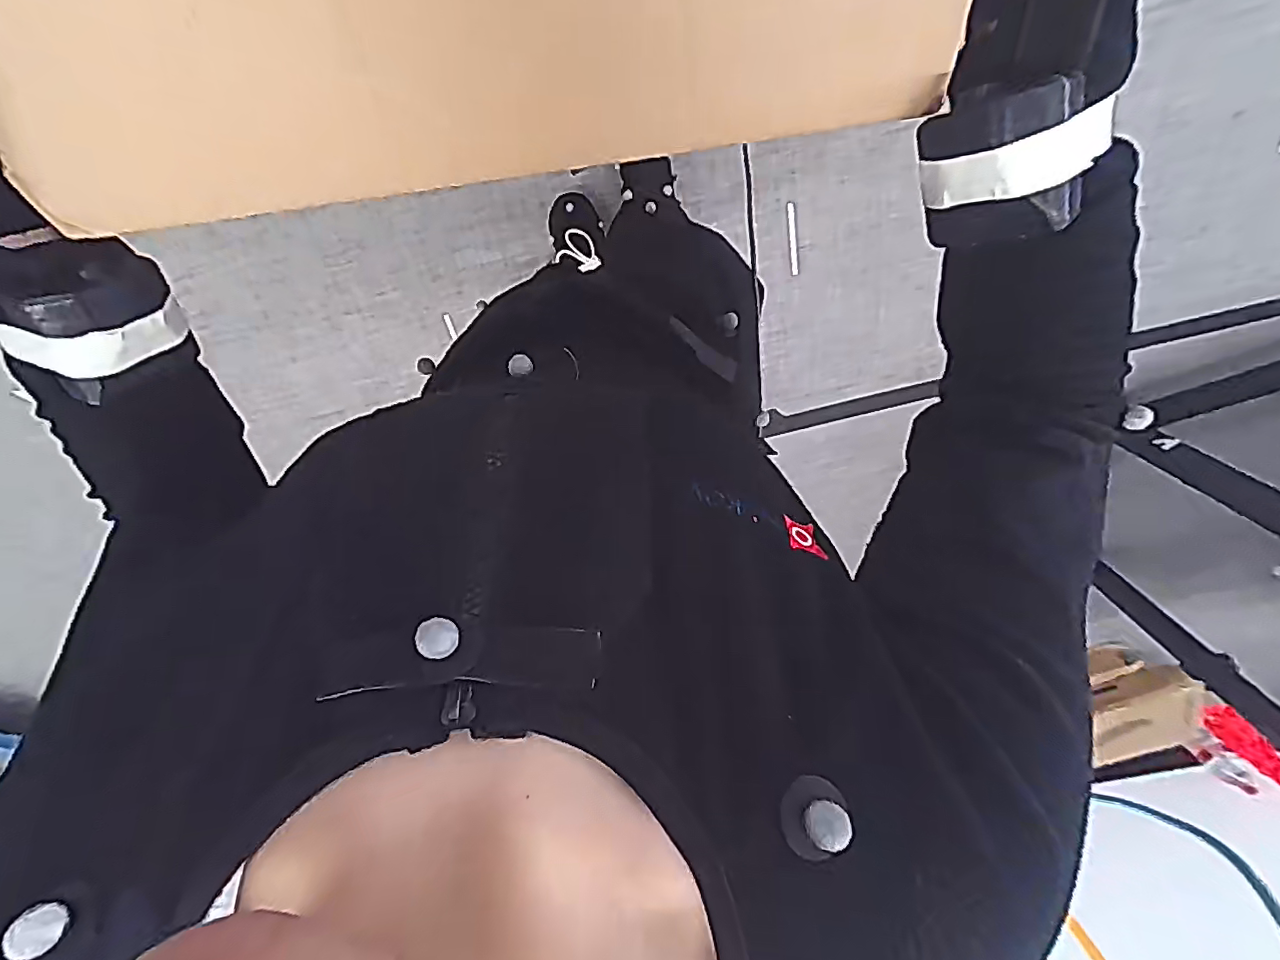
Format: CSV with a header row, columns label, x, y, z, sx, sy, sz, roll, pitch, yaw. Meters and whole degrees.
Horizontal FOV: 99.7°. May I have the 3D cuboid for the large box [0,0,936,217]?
label,x,y,z,sx,sy,sz,roll,pitch,yaw
large box,-0.097,-0.363,0.233,0.408,0.320,0.320,-8,139,0
